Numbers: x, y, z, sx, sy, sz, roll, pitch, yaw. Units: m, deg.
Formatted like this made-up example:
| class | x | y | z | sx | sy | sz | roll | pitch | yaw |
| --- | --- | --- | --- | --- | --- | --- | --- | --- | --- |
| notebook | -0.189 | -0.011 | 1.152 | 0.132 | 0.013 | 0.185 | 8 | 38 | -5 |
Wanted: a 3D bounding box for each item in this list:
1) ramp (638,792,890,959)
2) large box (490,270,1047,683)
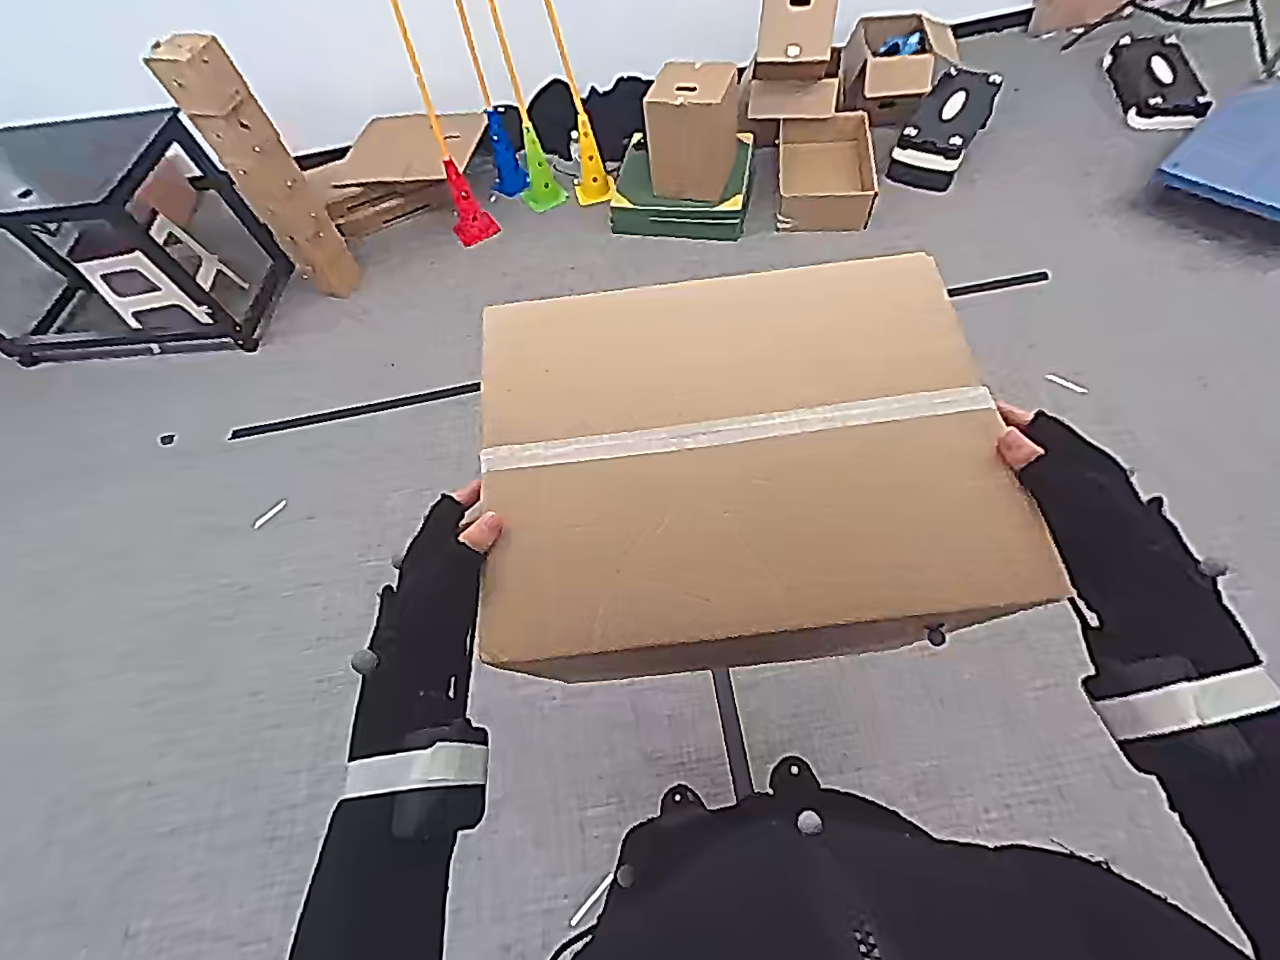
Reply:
| class | x | y | z | sx | sy | sz | roll | pitch | yaw |
| --- | --- | --- | --- | --- | --- | --- | --- | --- | --- |
| ramp | 0.312 | 1.209 | 1.064 | 0.509 | 0.206 | 0.991 | -11 | 60 | -1 |
| large box | 0.086 | 0.027 | 0.574 | 0.408 | 0.320 | 0.320 | -7 | 66 | 1 |
